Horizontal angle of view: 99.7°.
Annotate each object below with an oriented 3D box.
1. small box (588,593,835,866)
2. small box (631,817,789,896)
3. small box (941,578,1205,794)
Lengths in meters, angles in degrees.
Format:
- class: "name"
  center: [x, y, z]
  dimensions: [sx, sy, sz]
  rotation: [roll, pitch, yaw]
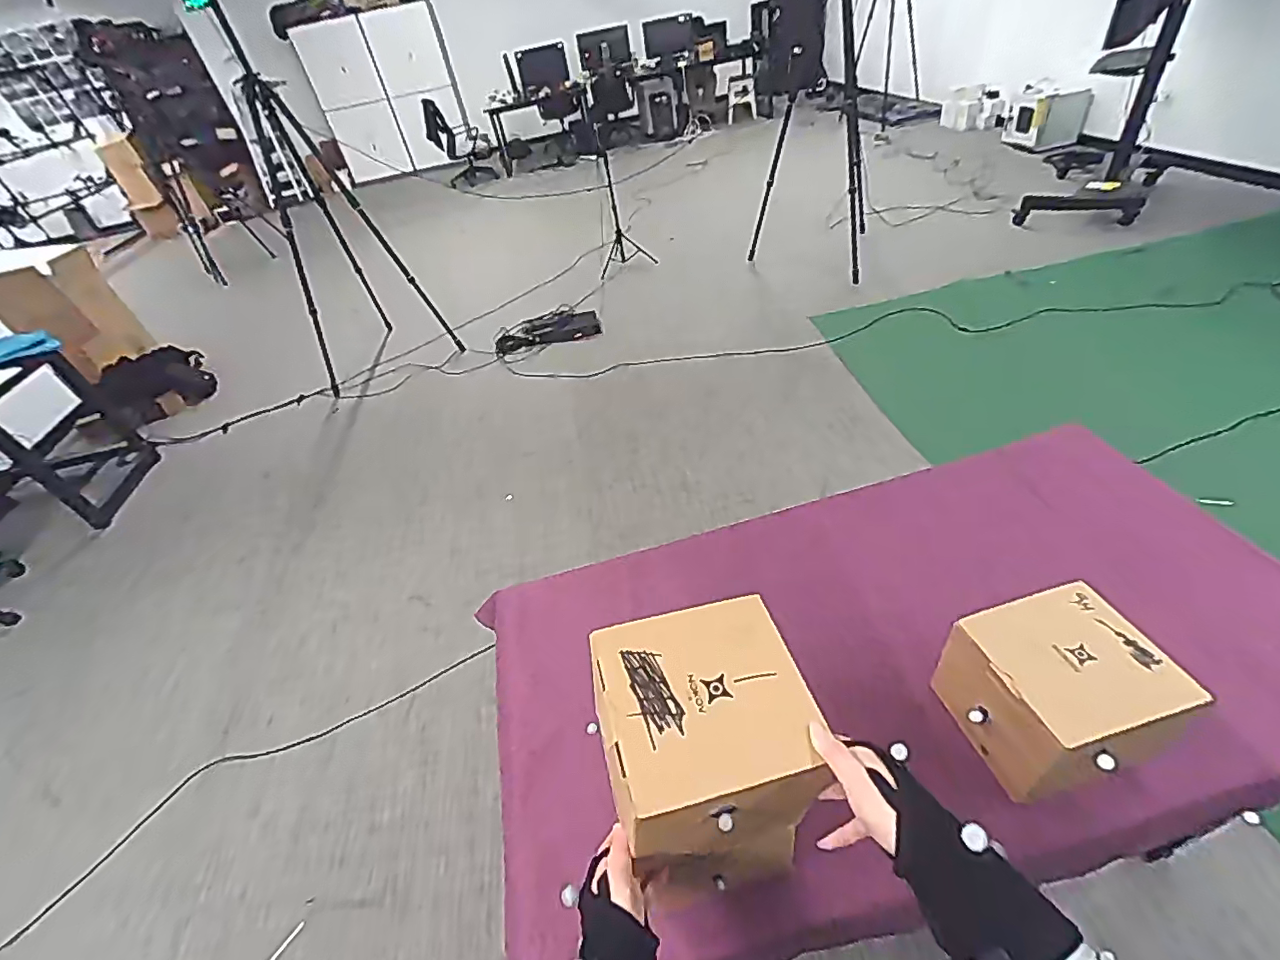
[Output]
- class: "small box"
  center: [0.054, 0.240, 0.523]
  dimensions: [0.179, 0.176, 0.168]
  rotation: [-10, 43, -12]
- class: "small box"
  center: [0.068, 0.368, 0.649]
  dimensions: [0.168, 0.176, 0.179]
  rotation: [-15, 41, -3]
- class: "small box"
  center: [0.501, 0.255, 0.665]
  dimensions: [0.179, 0.176, 0.168]
  rotation: [-17, 42, -3]
